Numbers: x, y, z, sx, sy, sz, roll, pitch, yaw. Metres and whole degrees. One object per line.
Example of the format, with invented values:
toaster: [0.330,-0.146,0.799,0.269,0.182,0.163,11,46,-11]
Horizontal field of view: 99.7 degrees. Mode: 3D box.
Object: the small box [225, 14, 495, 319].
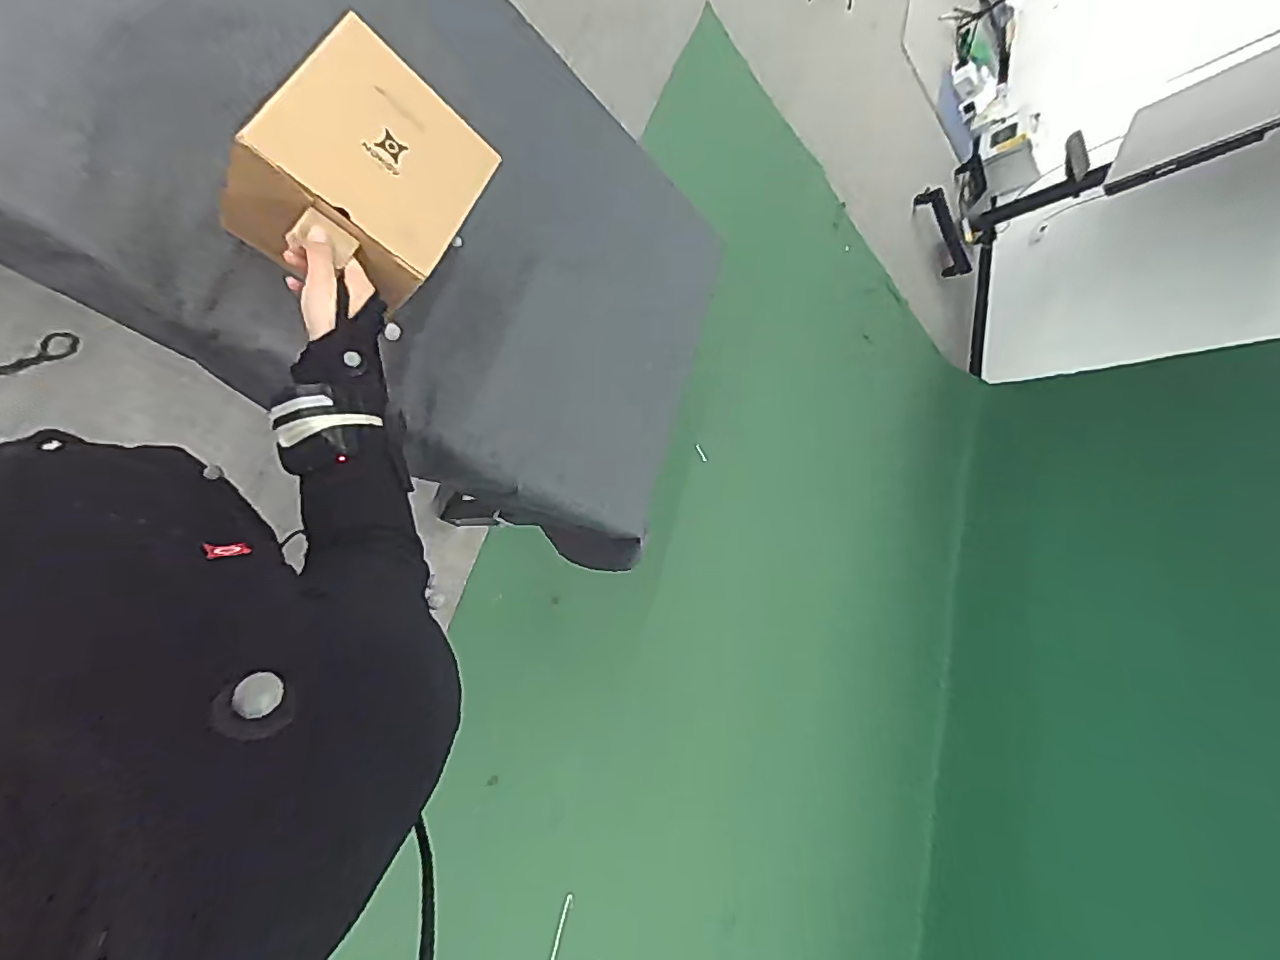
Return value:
small box: [-0.286,-0.294,0.551,0.168,0.176,0.179,35,64,-35]
